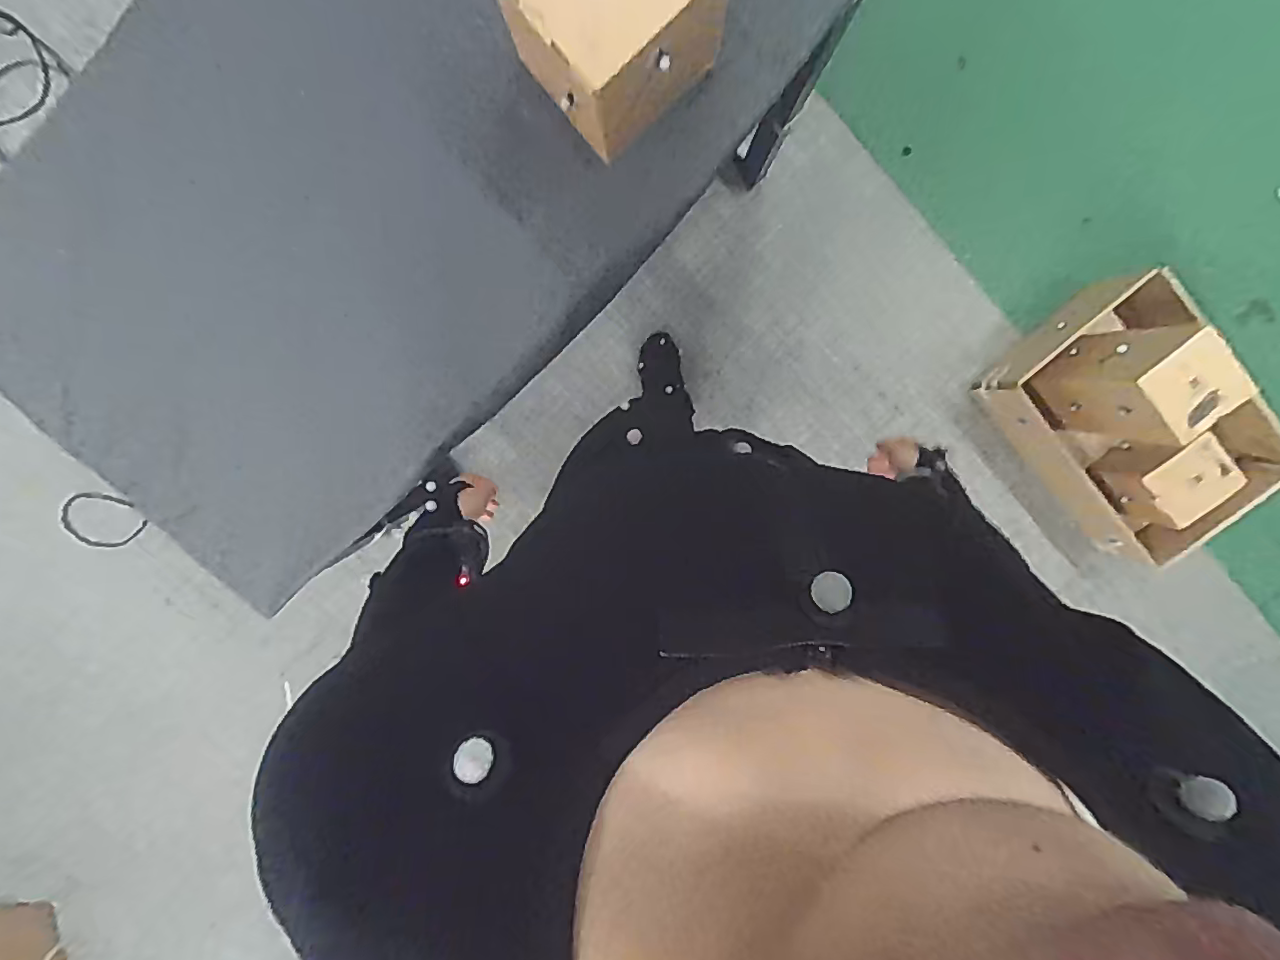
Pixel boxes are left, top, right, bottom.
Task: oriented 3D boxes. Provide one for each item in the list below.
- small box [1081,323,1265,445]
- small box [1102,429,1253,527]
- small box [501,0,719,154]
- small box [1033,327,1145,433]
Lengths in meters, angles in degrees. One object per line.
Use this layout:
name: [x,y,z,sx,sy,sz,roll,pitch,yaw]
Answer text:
small box: [1.078,-0.198,1.109,0.168,0.176,0.179,-42,97,8]
small box: [1.281,-0.017,1.309,0.179,0.176,0.168,-40,98,10]
small box: [-0.028,-0.484,0.555,0.179,0.176,0.168,-40,97,7]
small box: [1.084,-0.234,1.270,0.168,0.176,0.179,-43,98,9]
